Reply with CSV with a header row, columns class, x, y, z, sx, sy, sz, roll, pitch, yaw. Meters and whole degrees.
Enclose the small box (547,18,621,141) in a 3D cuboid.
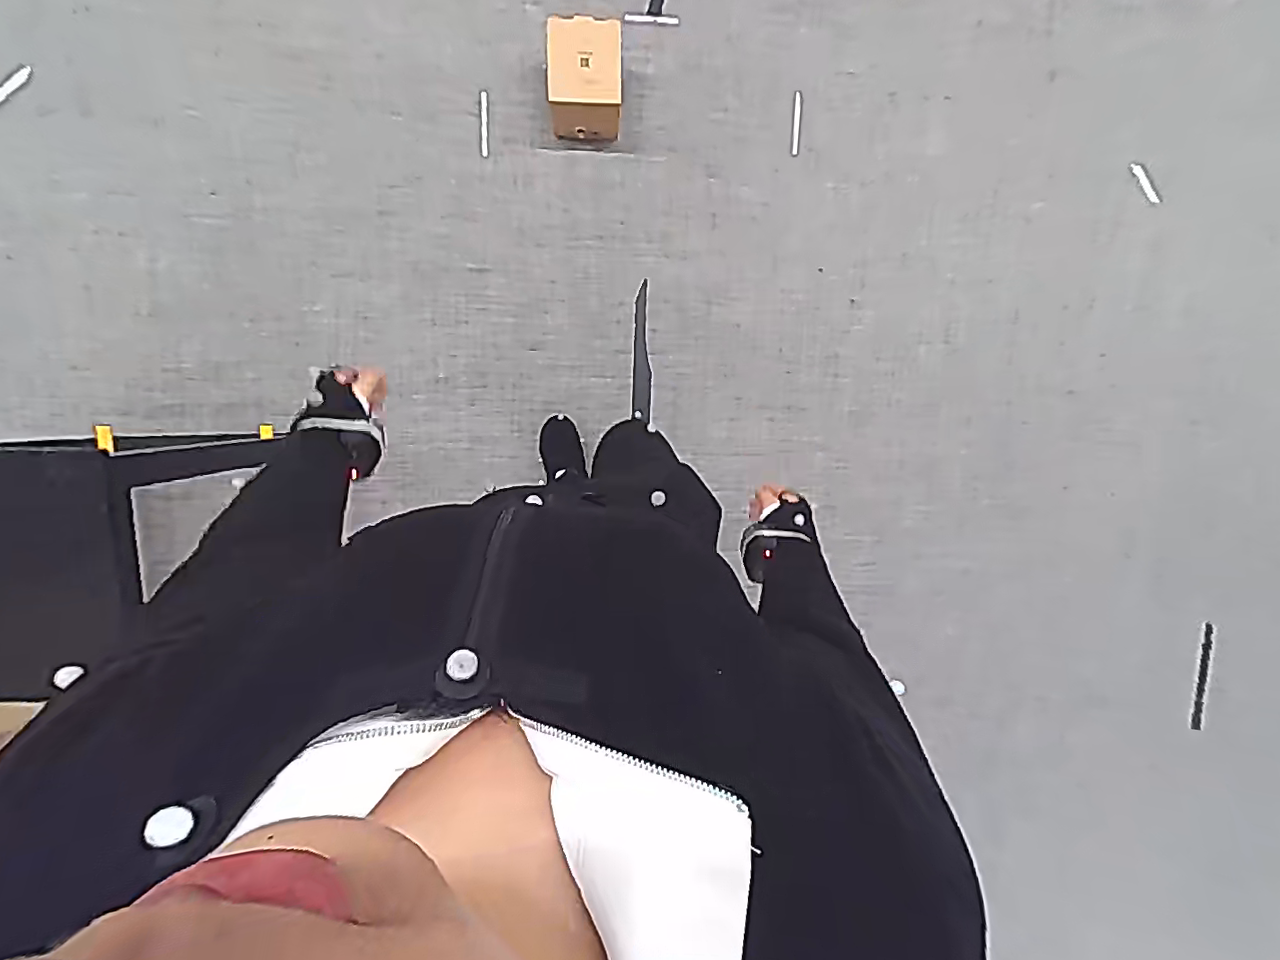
class,x,y,z,sx,sy,sz,roll,pitch,yaw
small box,-0.130,-0.938,1.280,0.168,0.176,0.179,-1,99,-4
